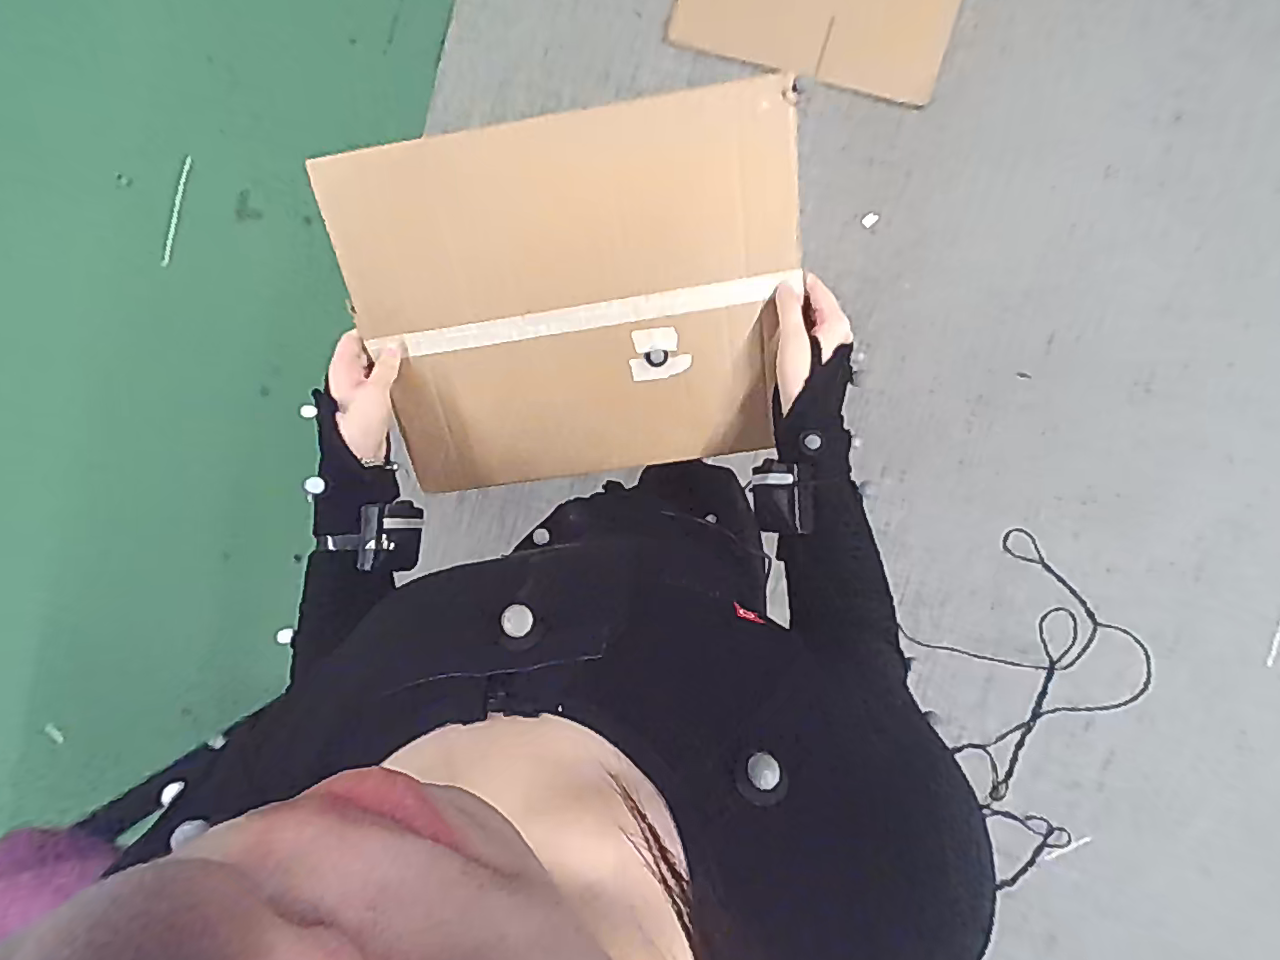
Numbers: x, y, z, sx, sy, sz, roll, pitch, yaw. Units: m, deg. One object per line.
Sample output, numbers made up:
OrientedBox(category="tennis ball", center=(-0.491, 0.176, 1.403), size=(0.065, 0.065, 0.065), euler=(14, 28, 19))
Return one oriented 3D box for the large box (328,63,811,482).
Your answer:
OrientedBox(category="large box", center=(-0.048, -0.222, 0.634), size=(0.408, 0.320, 0.320), euler=(-8, 114, 3))
